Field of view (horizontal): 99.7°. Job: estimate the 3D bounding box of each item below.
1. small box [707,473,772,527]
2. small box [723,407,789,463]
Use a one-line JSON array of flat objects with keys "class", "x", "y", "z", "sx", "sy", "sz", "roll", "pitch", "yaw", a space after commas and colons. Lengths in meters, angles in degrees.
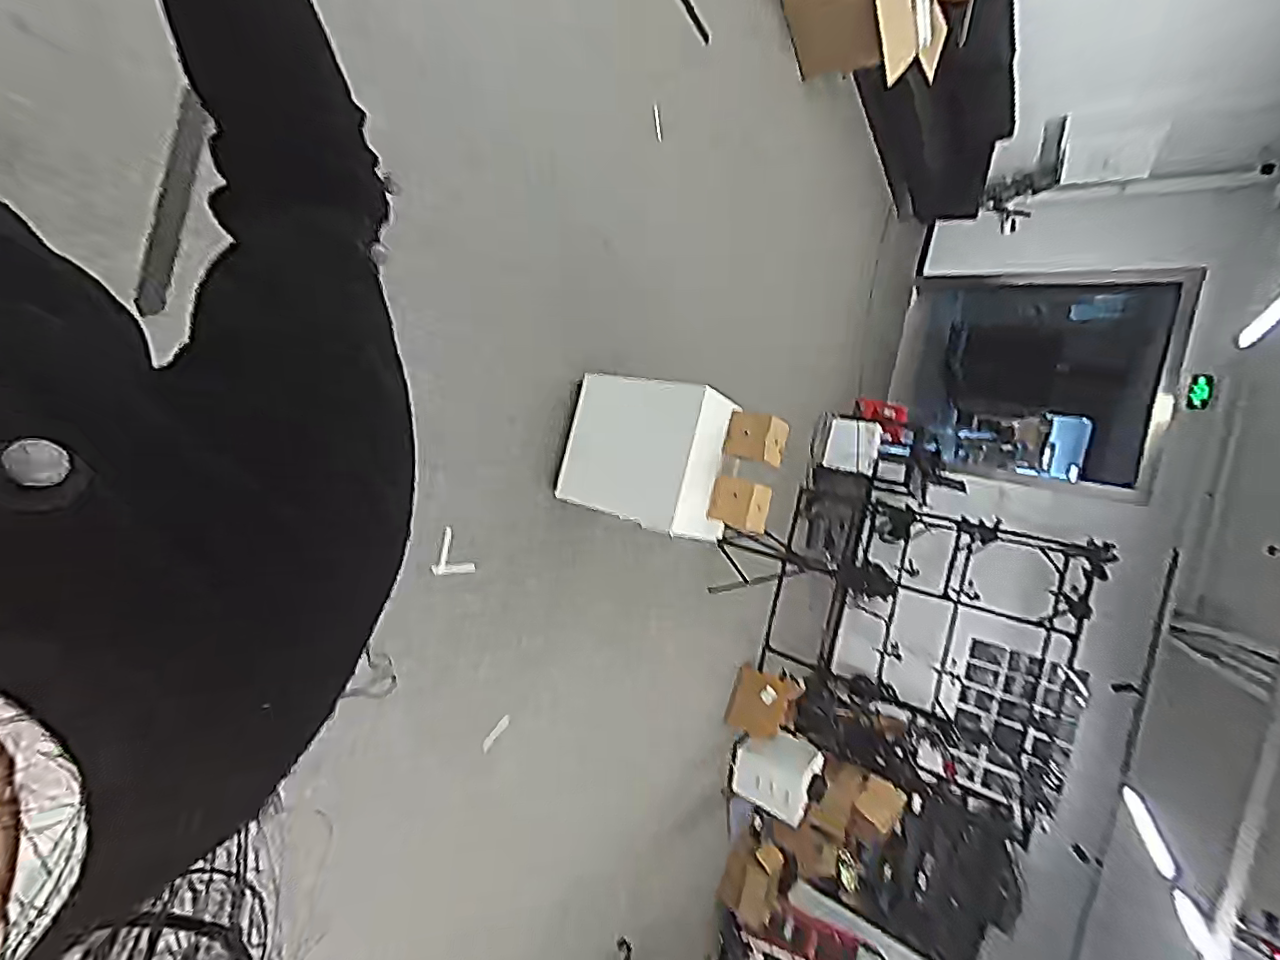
[{"class": "small box", "x": 0.372, "y": 0.074, "z": 2.031, "sx": 0.179, "sy": 0.176, "sz": 0.168, "roll": 15, "pitch": 89, "yaw": -55}, {"class": "small box", "x": 0.433, "y": -0.170, "z": 2.029, "sx": 0.179, "sy": 0.176, "sz": 0.168, "roll": 15, "pitch": 90, "yaw": -54}]
